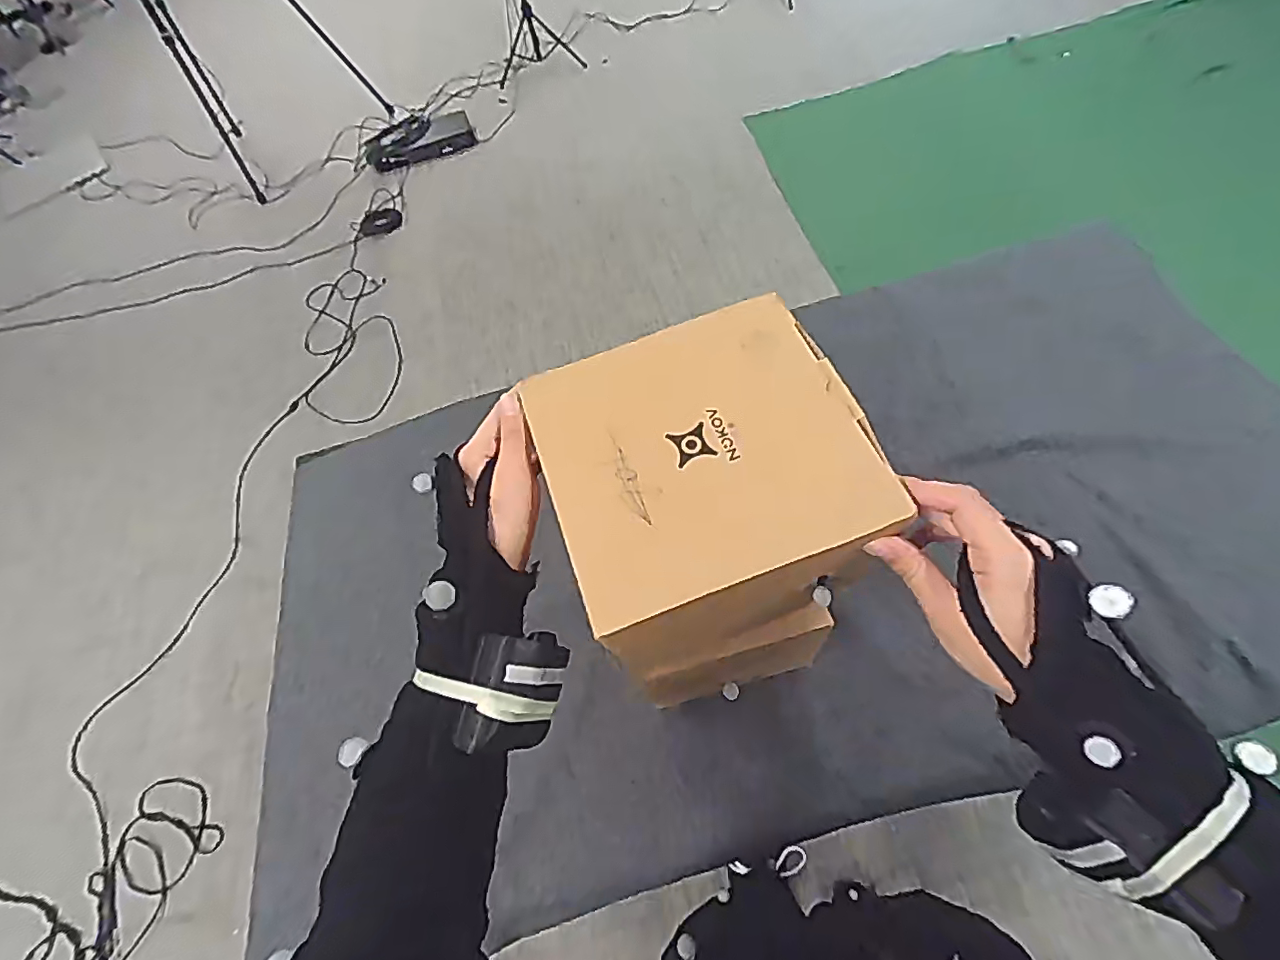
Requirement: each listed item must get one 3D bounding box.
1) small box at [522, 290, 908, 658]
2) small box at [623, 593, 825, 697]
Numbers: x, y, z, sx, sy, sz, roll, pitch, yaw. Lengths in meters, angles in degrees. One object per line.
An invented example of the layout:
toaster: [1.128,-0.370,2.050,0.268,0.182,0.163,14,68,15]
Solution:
small box: [0.042,0.009,0.379,0.179,0.176,0.168,-22,64,-2]
small box: [0.061,0.099,0.539,0.168,0.176,0.179,-16,60,1]
